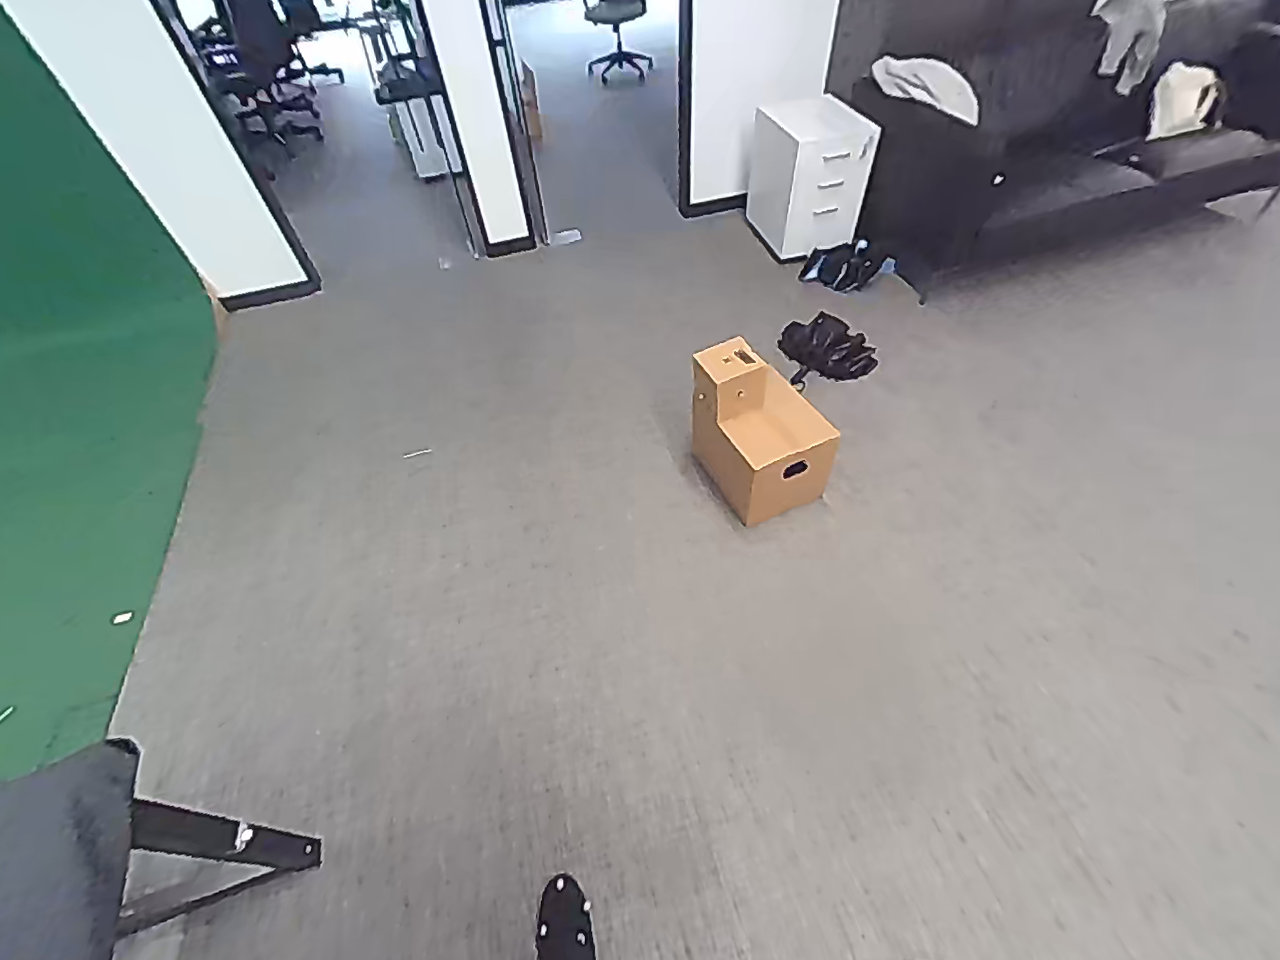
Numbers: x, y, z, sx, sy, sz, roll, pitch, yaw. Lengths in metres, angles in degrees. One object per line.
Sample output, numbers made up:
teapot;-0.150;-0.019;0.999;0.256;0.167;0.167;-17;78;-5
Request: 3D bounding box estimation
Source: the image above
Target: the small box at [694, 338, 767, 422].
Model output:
small box;0.287;-0.319;1.739;0.179;0.176;0.168;-23;52;-9
